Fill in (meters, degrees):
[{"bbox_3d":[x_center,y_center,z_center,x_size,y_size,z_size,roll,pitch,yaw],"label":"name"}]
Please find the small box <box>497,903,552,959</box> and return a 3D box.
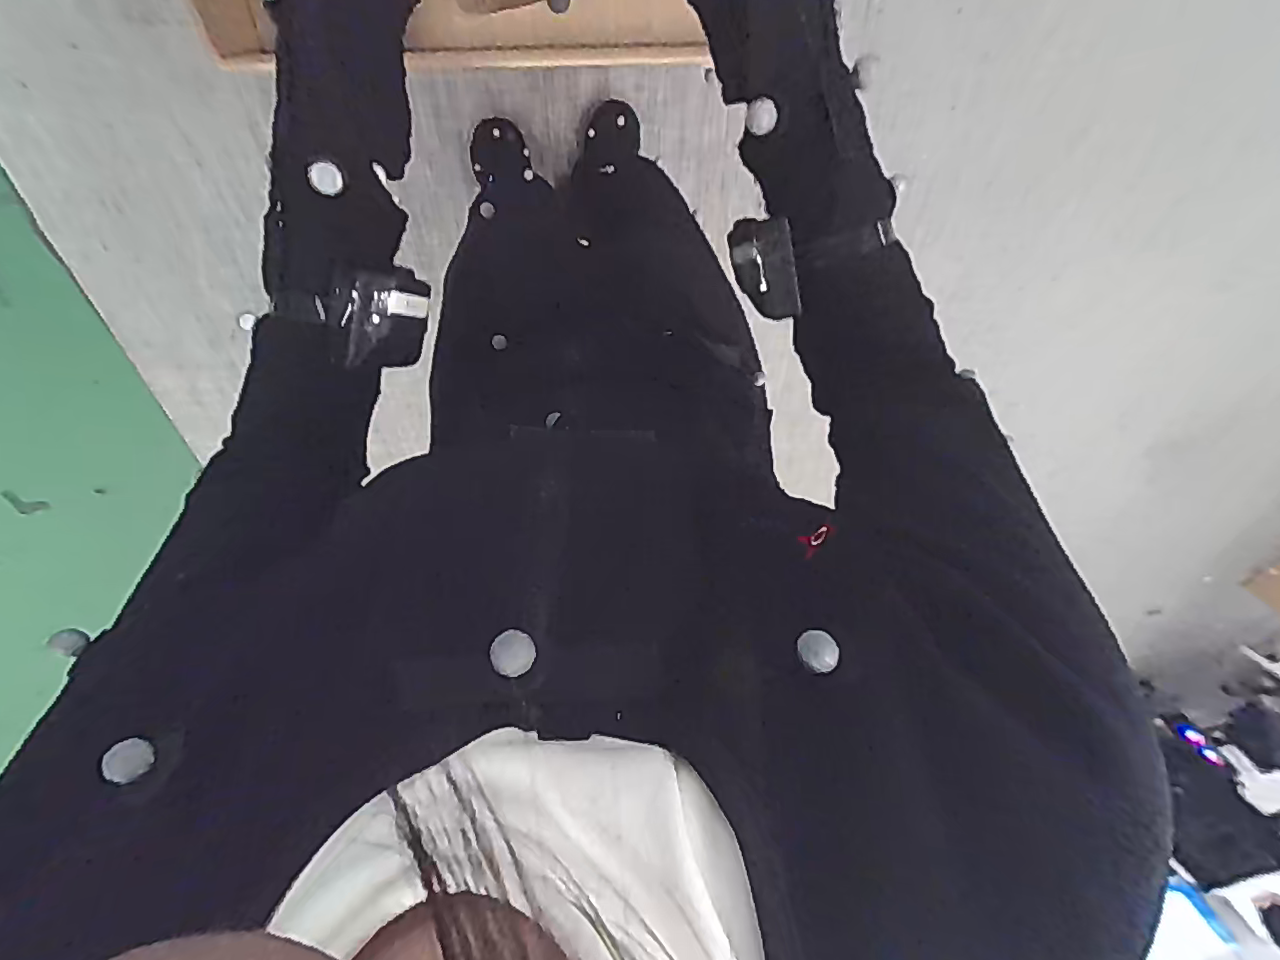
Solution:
[{"bbox_3d":[-0.394,1.587,1.862,0.168,0.176,0.179,-7,131,-7],"label":"small box"}]
